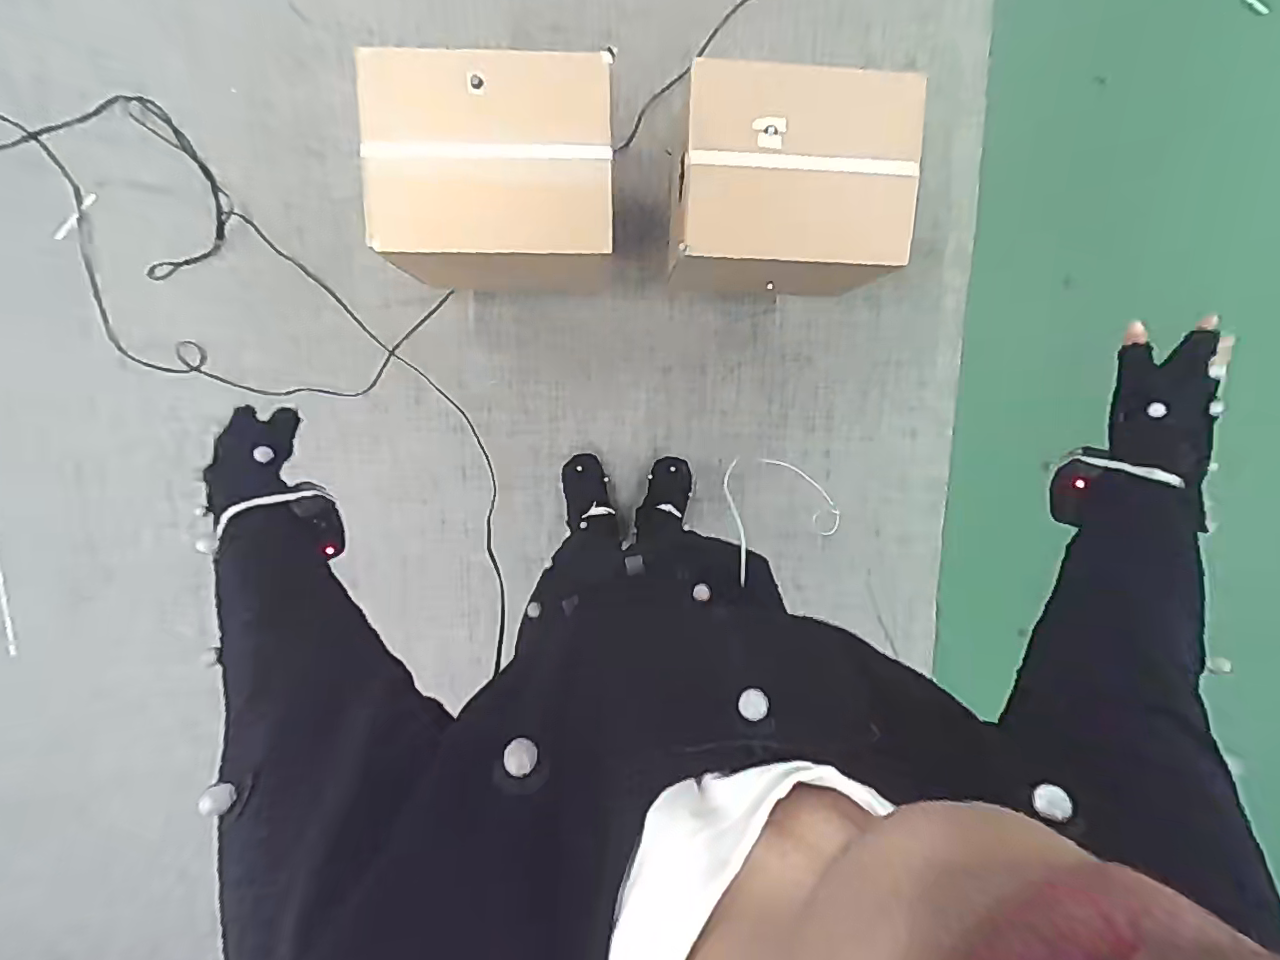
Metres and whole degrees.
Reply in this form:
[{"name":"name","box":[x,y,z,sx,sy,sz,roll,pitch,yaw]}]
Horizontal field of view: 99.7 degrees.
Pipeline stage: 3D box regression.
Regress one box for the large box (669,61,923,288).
[{"name":"large box","box":[0.277,-0.572,1.083,0.408,0.320,0.320,2,99,-3]}]
